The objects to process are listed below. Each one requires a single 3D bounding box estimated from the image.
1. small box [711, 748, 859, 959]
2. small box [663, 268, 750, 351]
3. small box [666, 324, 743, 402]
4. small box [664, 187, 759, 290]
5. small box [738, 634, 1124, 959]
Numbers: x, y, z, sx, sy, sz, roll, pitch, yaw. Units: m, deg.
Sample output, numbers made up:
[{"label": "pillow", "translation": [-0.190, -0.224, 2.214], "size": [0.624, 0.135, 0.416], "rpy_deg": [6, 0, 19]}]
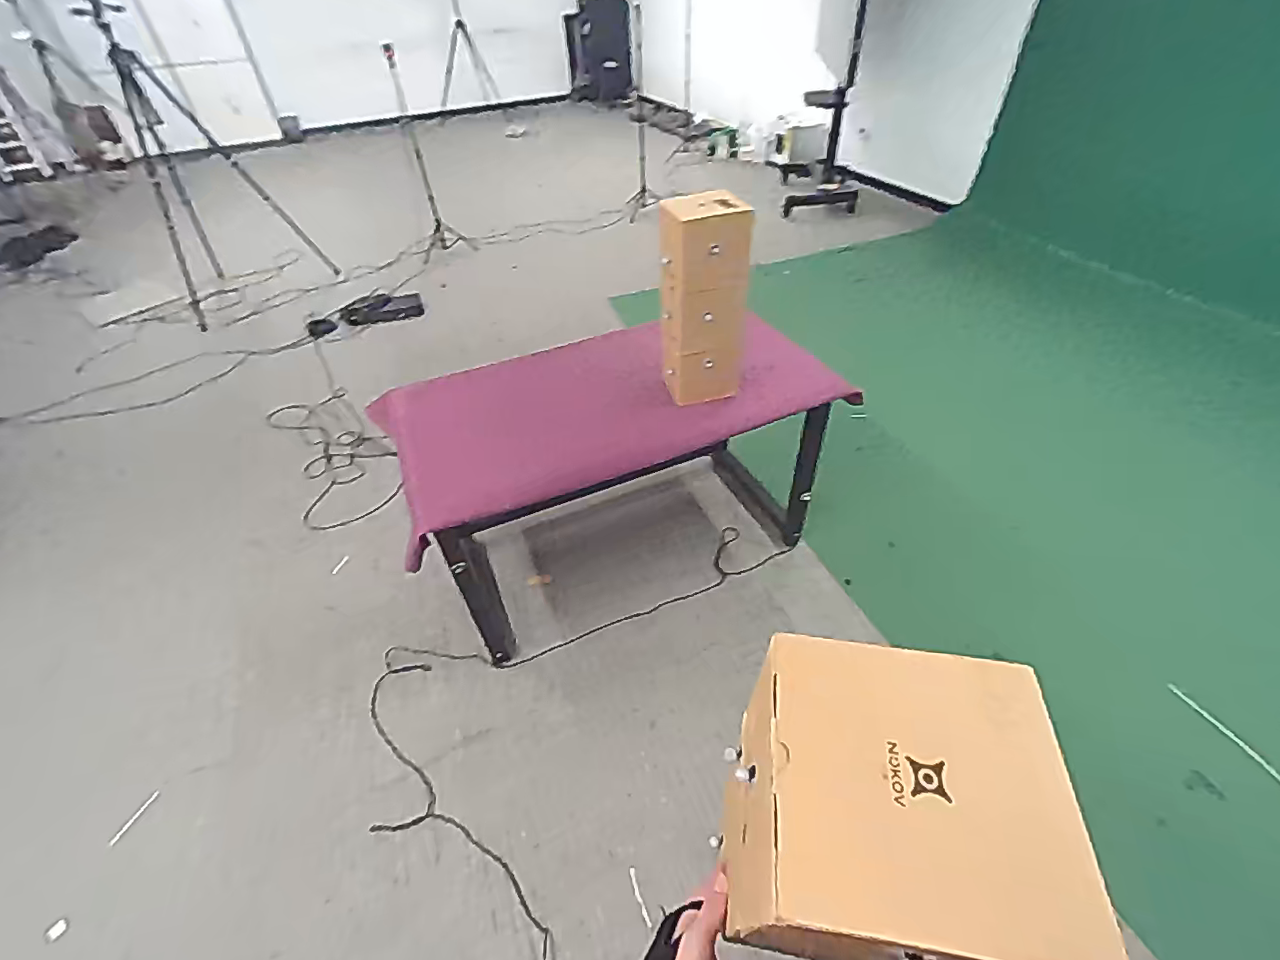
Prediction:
[{"label": "small box", "translation": [0.183, 0.441, 0.637], "size": [0.179, 0.176, 0.168], "rpy_deg": [6, 48, 9]}, {"label": "small box", "translation": [0.169, -0.454, 1.400], "size": [0.179, 0.176, 0.168], "rpy_deg": [-14, 46, -9]}, {"label": "small box", "translation": [0.177, -0.337, 1.514], "size": [0.179, 0.176, 0.168], "rpy_deg": [-11, 44, -8]}, {"label": "small box", "translation": [0.162, -0.574, 1.288], "size": [0.179, 0.176, 0.168], "rpy_deg": [-14, 45, -10]}, {"label": "small box", "translation": [0.170, 0.232, 0.385], "size": [0.179, 0.176, 0.168], "rpy_deg": [5, 49, 7]}]
